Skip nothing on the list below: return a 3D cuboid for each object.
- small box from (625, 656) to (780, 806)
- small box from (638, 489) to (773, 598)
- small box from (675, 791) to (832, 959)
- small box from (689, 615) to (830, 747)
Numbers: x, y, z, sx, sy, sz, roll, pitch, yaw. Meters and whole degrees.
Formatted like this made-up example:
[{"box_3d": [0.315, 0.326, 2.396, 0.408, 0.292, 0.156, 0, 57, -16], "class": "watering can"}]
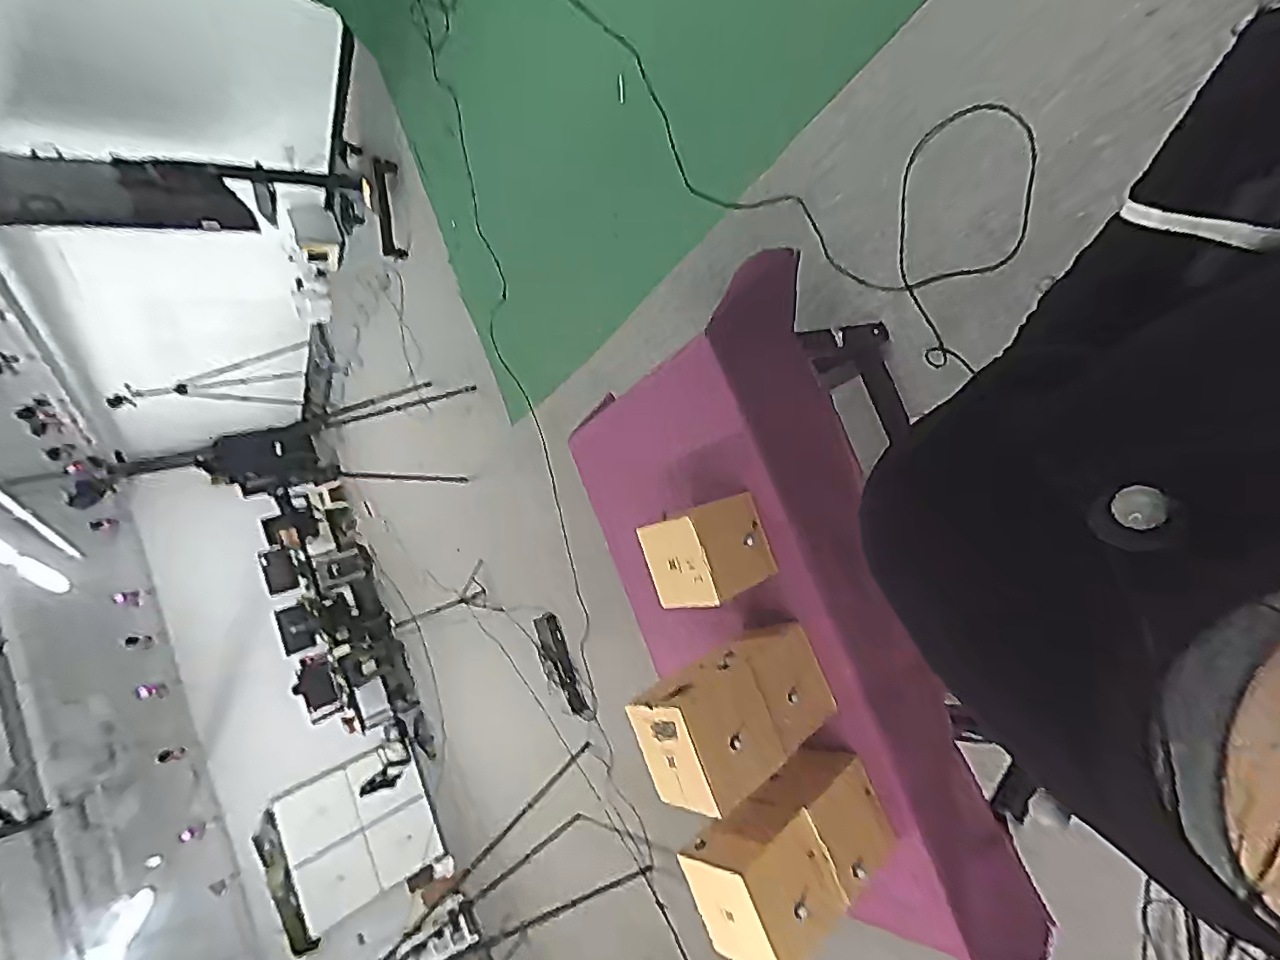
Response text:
[{"box_3d": [0.108, 0.418, 0.939, 0.168, 0.176, 0.179, -28, 82, 53], "class": "small box"}, {"box_3d": [0.128, 0.126, 1.069, 0.179, 0.176, 0.168, -20, 88, 53], "class": "small box"}, {"box_3d": [0.198, 0.662, 0.923, 0.179, 0.176, 0.168, -36, 75, 53], "class": "small box"}, {"box_3d": [0.232, 0.381, 1.042, 0.168, 0.176, 0.179, -30, 80, 52], "class": "small box"}]
